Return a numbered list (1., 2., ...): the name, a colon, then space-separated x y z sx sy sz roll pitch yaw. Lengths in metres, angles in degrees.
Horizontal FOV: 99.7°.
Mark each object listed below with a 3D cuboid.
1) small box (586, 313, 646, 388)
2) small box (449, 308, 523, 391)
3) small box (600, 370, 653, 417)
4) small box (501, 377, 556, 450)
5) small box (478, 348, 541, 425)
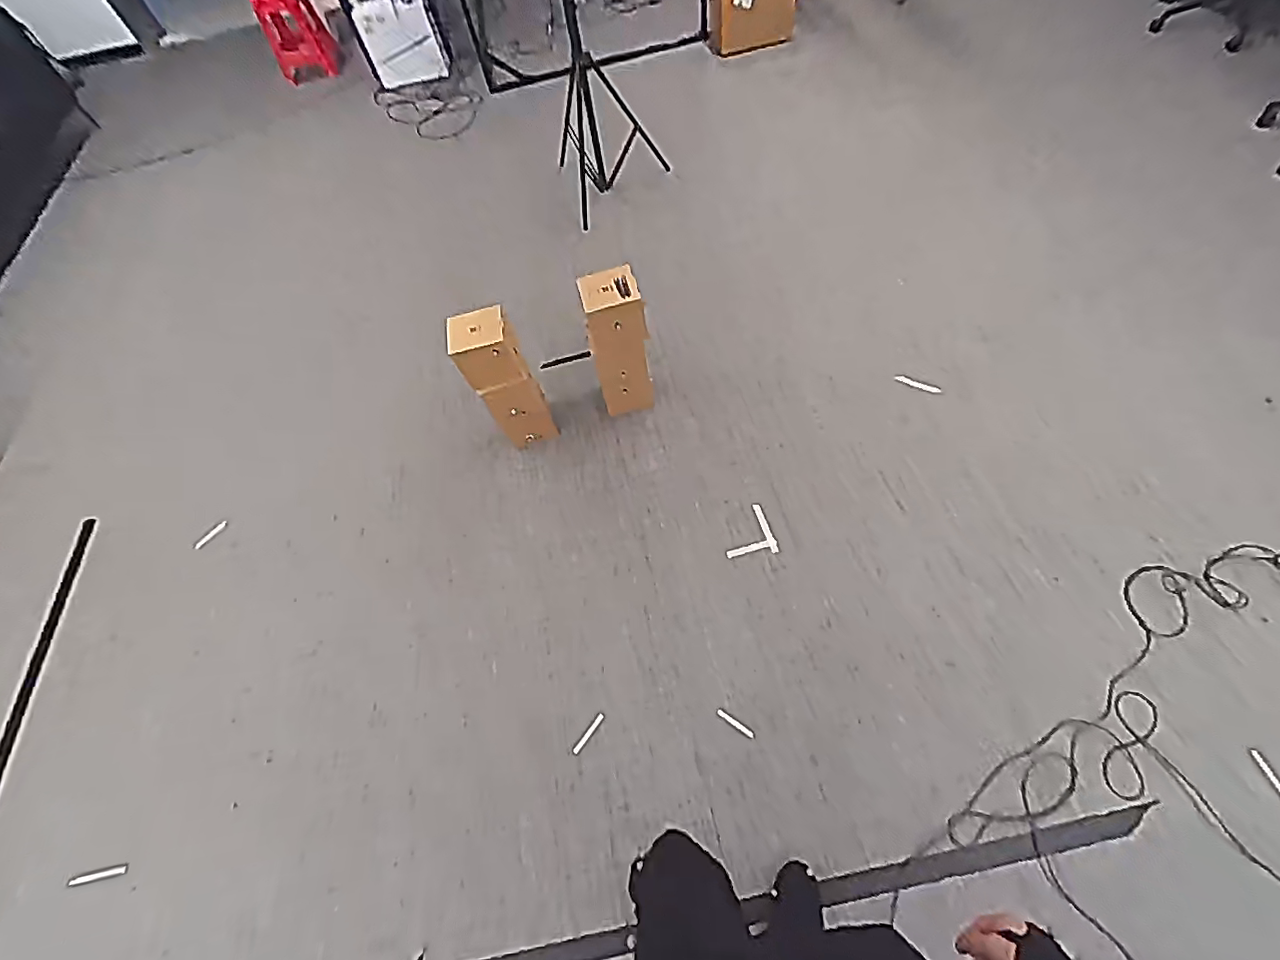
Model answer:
1. small box: -0.078 -0.439 1.851 0.179 0.176 0.168 -12 58 0
2. small box: -0.484 -0.405 1.703 0.179 0.176 0.168 -14 58 1
3. small box: -0.057 -0.355 1.990 0.179 0.176 0.168 -13 59 0
4. small box: -0.420 -0.240 1.977 0.168 0.176 0.179 -20 59 -3
5. small box: -0.448 -0.316 1.835 0.168 0.176 0.179 -18 59 -1
